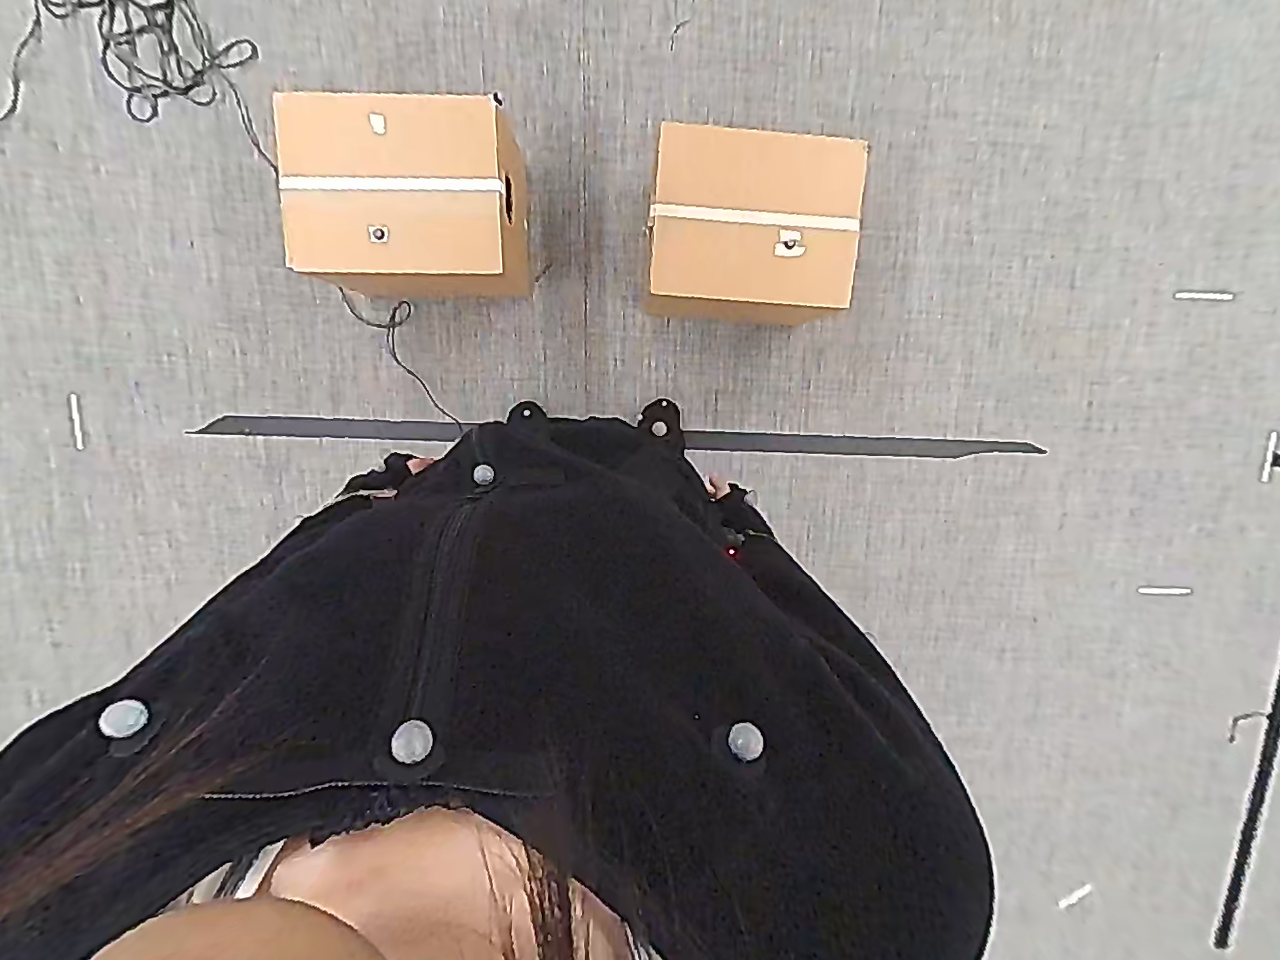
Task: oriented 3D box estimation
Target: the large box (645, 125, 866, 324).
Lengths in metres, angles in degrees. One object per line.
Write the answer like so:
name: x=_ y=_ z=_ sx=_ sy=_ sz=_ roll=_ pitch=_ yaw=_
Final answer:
large box: x=0.223 y=-0.536 z=1.203 sx=0.408 sy=0.320 sz=0.320 roll=4 pitch=100 yaw=-4
